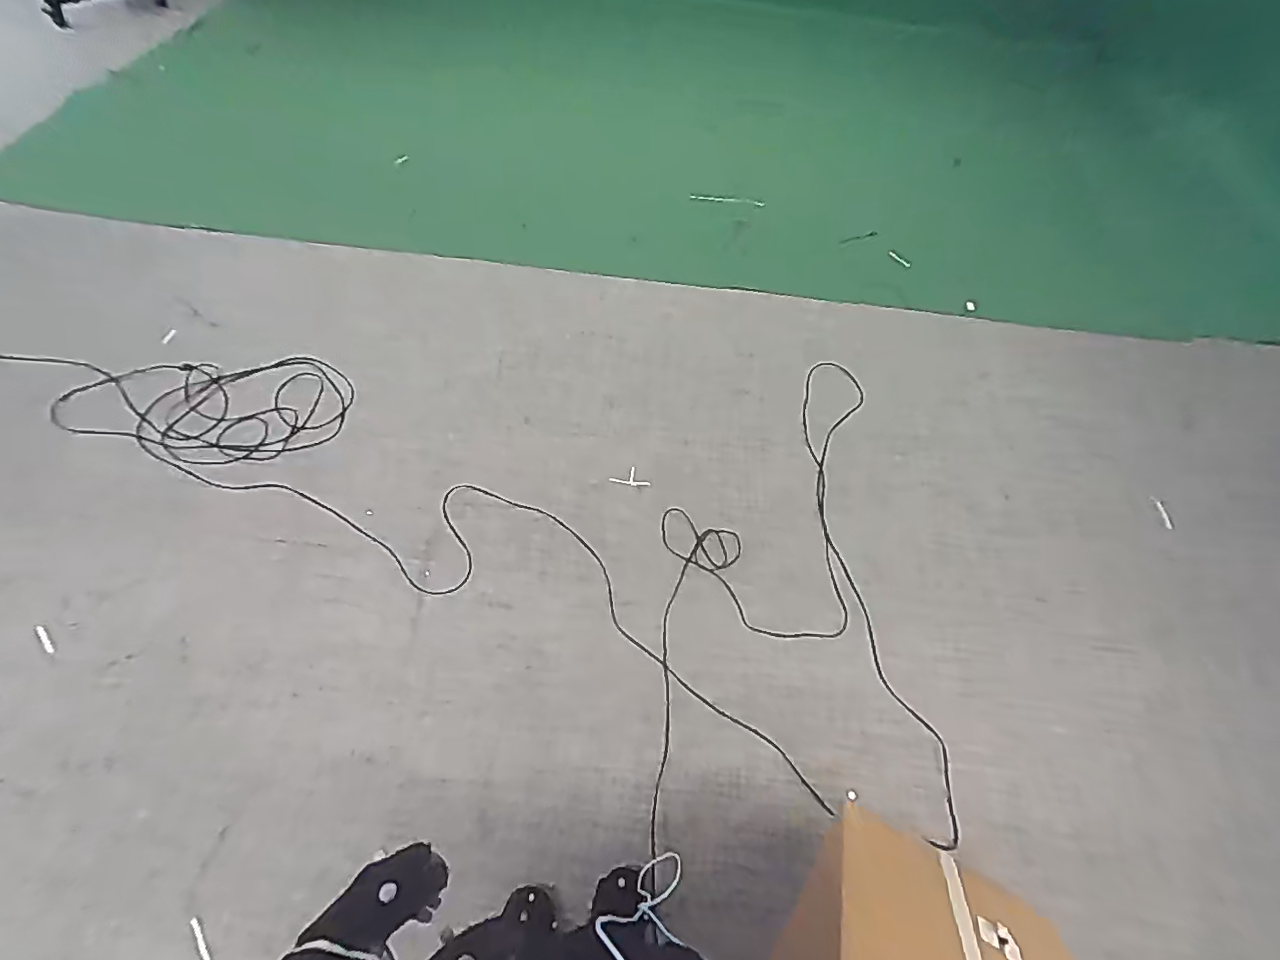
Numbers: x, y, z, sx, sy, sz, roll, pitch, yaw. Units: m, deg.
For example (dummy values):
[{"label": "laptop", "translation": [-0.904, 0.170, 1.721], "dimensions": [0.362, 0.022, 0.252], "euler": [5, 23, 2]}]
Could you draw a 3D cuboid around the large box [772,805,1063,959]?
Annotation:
[{"label": "large box", "translation": [0.341, 0.728, 0.673], "dimensions": [0.320, 0.408, 0.320], "euler": [25, 98, 19]}]
